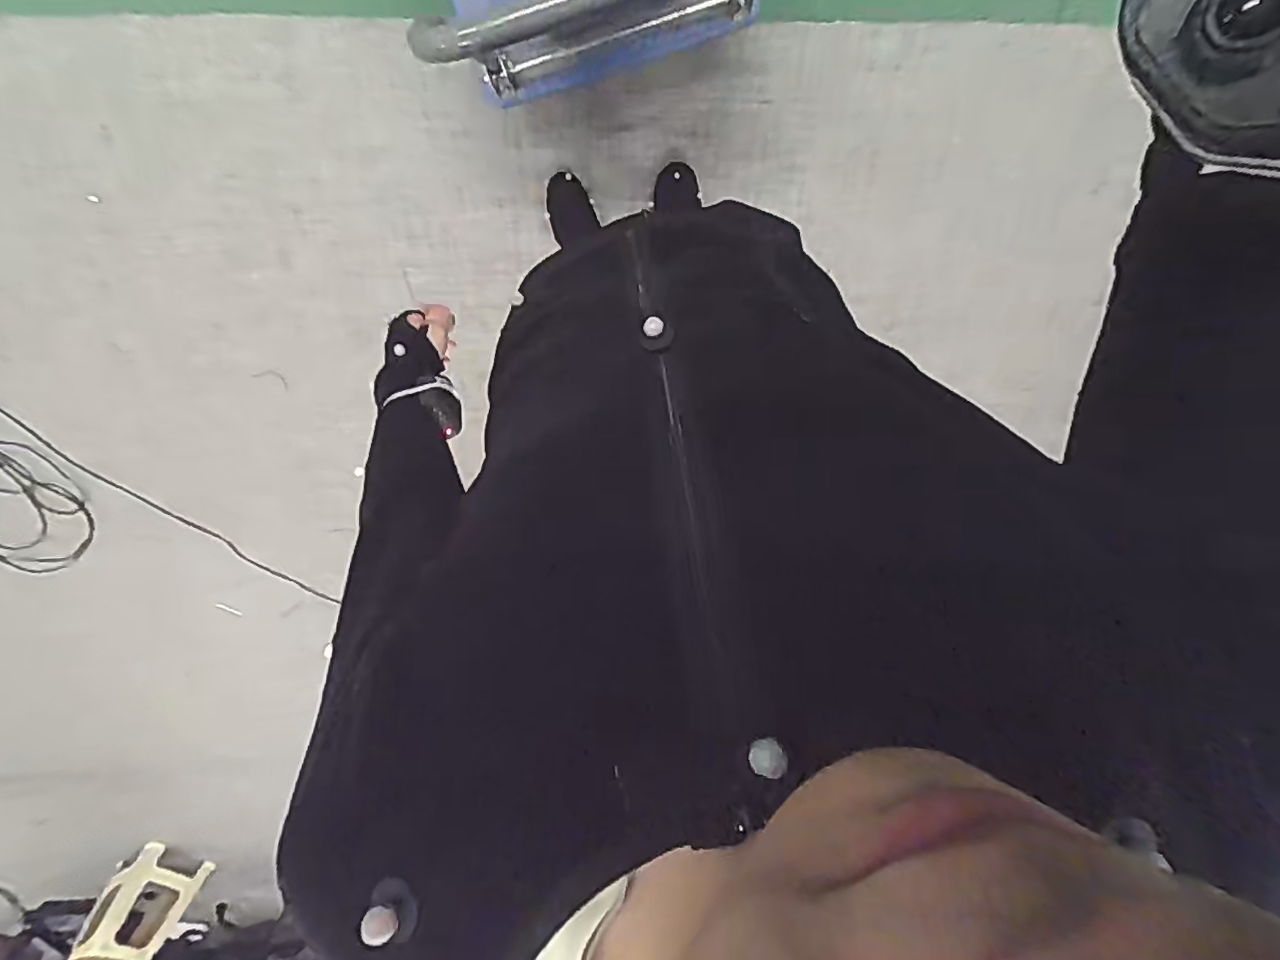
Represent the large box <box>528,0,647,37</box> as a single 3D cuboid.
[{"bbox_3d":[-0.091,-0.999,0.825,0.320,0.320,0.408,-15,119,5],"label":"large box"}]
